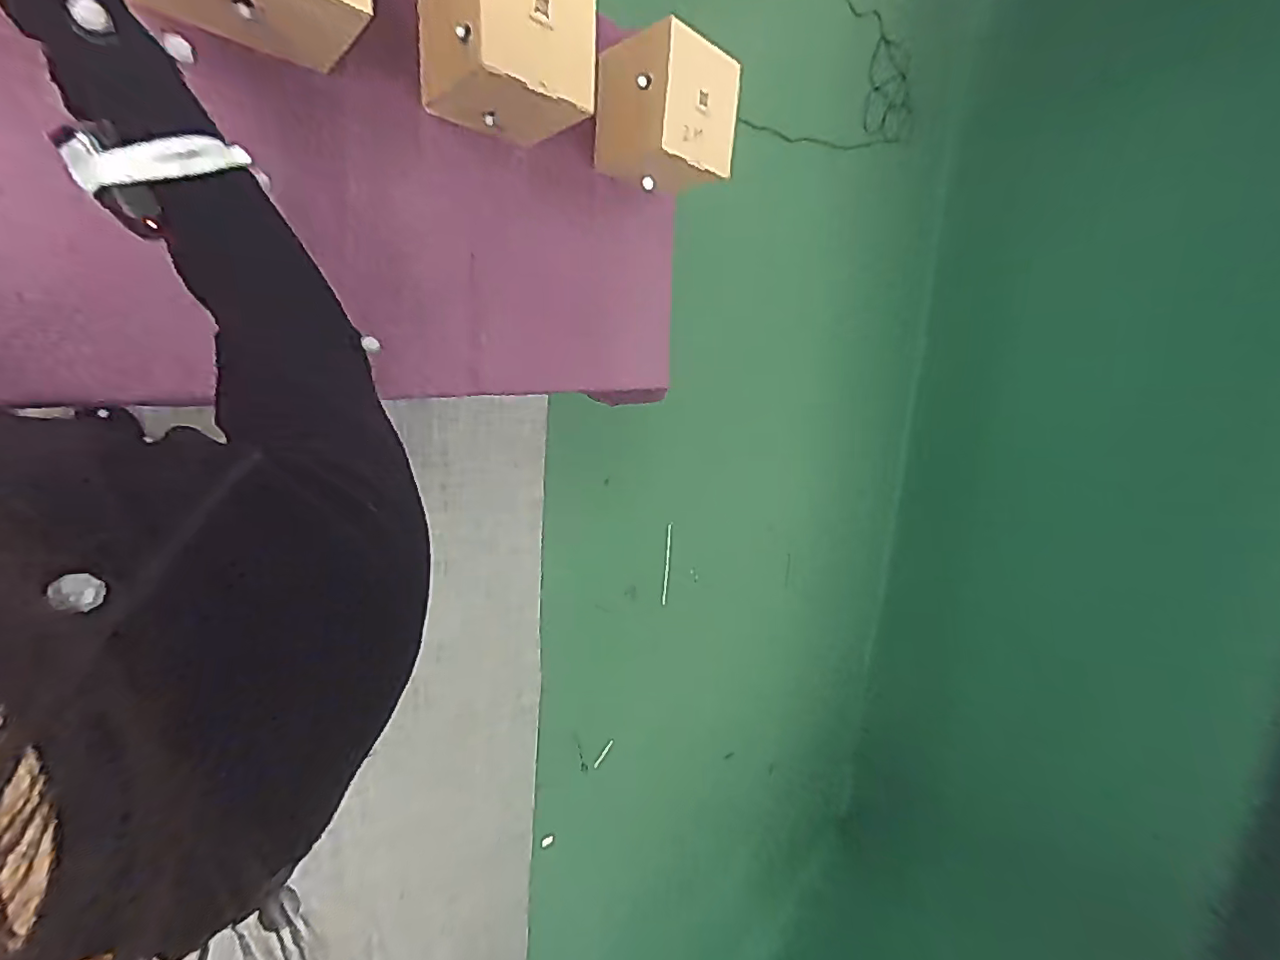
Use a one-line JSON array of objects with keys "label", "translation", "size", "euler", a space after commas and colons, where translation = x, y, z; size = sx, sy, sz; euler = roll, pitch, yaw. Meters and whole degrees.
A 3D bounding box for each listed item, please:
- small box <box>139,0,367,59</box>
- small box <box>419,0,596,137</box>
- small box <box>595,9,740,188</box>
[{"label": "small box", "translation": [-0.379, -0.541, 0.510], "size": [0.179, 0.176, 0.168], "euler": [-8, 105, -42]}, {"label": "small box", "translation": [-0.174, -0.581, 0.700], "size": [0.168, 0.176, 0.179], "euler": [-10, 108, -42]}, {"label": "small box", "translation": [0.041, -0.608, 0.892], "size": [0.168, 0.176, 0.179], "euler": [-7, 108, -42]}]
